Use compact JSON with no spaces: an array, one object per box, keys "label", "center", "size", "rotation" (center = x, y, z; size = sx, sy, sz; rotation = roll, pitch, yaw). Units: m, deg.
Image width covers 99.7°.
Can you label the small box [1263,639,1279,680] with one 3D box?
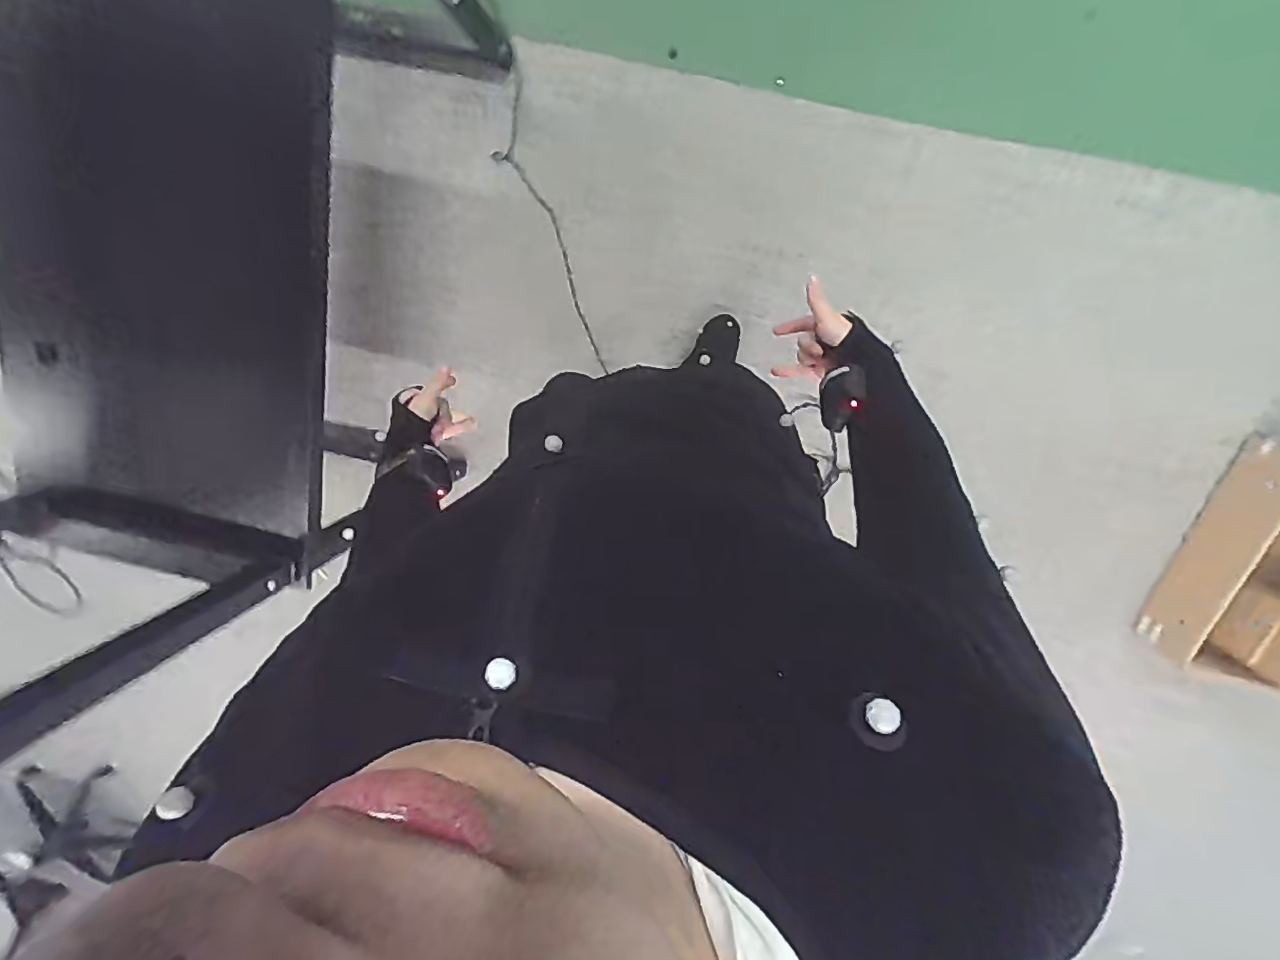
[{"label":"small box","center":[1.626,0.431,1.242],"size":[0.168,0.176,0.179],"rotation":[14,107,5]}]
